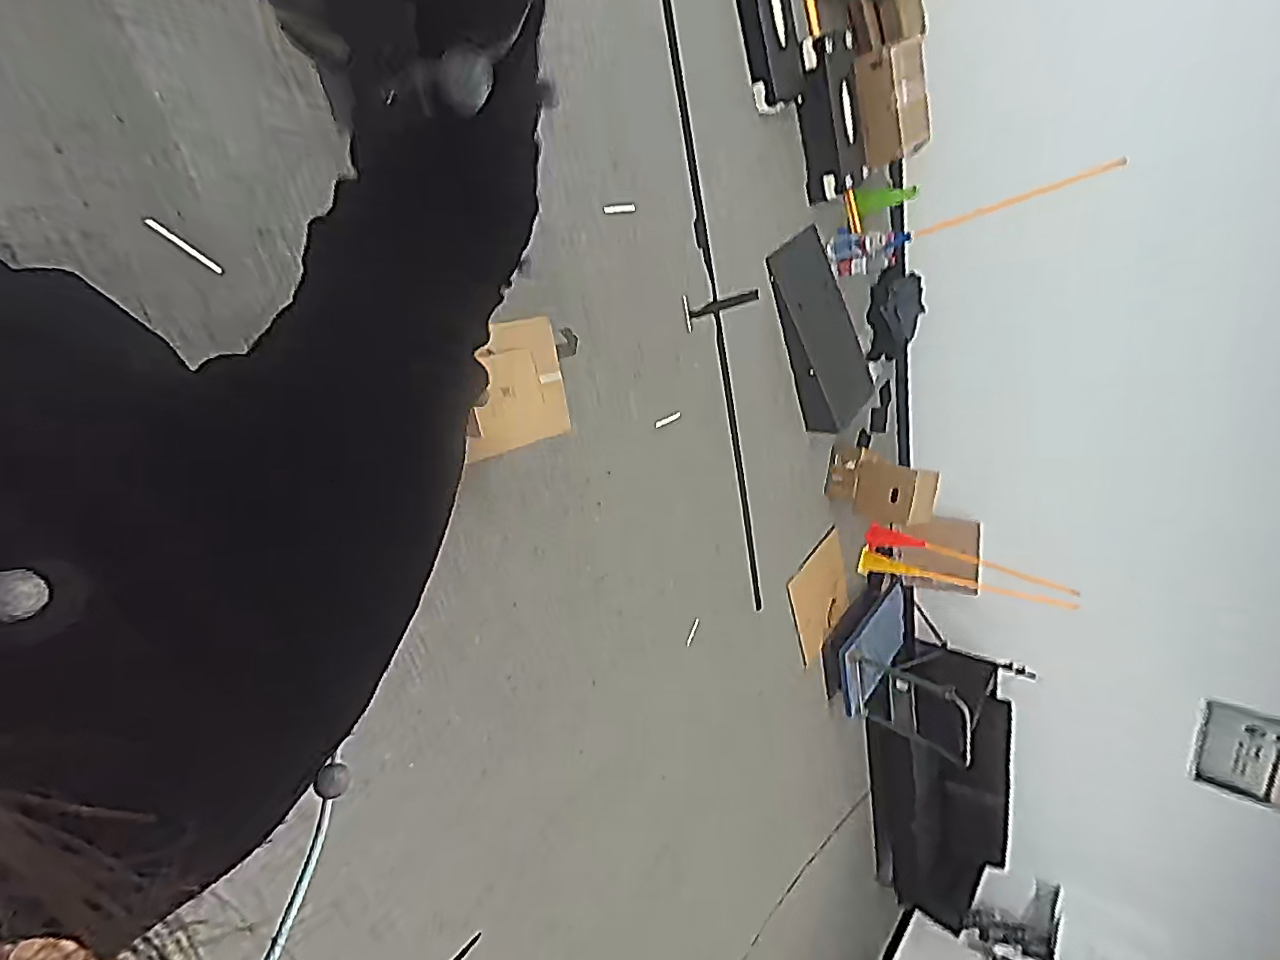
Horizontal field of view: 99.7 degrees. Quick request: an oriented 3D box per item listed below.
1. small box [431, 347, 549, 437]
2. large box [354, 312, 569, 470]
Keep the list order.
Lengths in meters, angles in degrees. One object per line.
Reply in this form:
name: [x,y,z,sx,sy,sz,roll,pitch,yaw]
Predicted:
small box: [-0.337,-0.202,1.217,0.179,0.176,0.168,-25,112,-39]
large box: [-0.462,-0.245,1.434,0.408,0.320,0.320,-26,115,-40]
